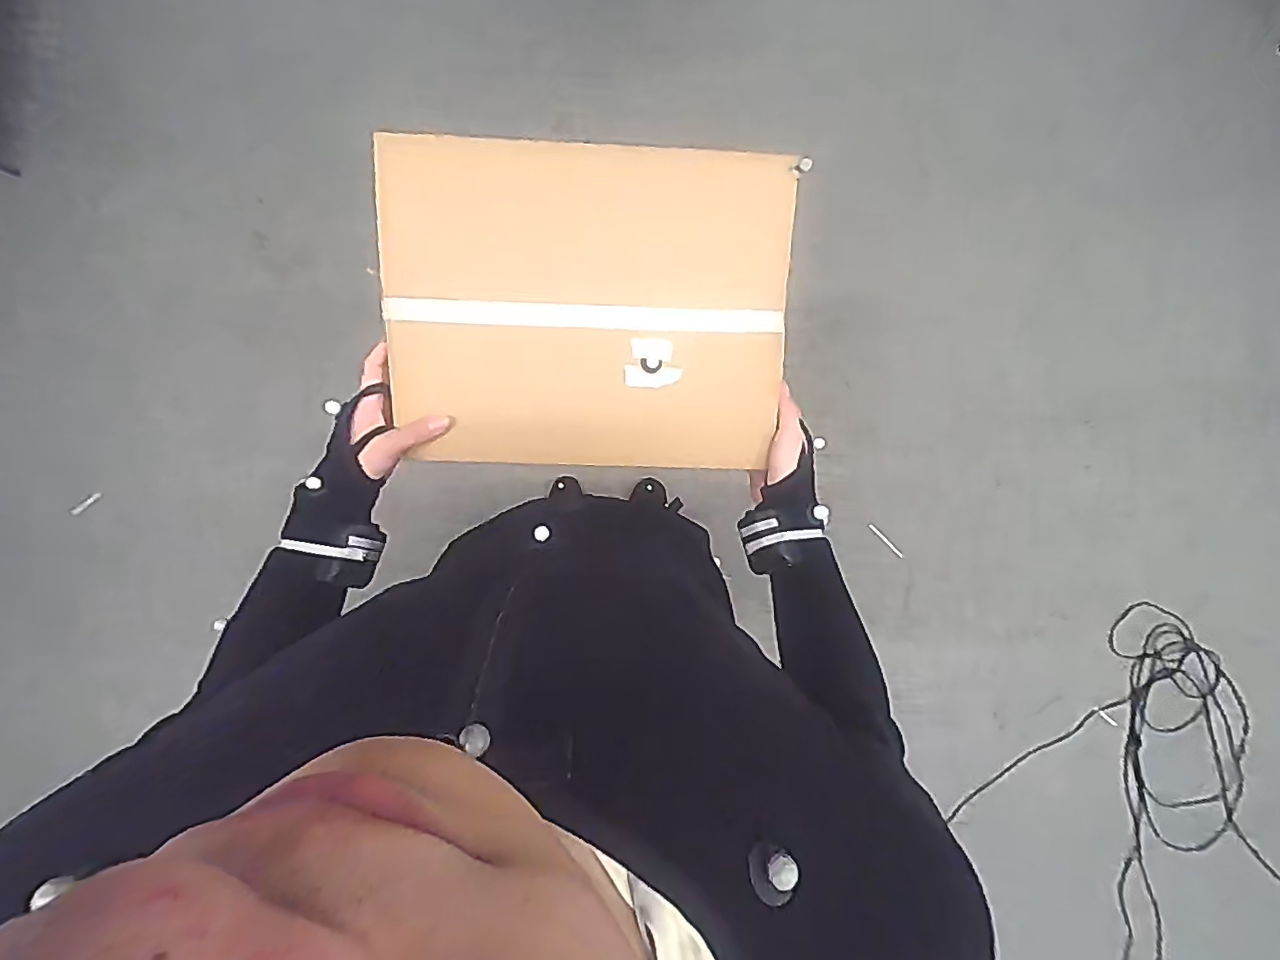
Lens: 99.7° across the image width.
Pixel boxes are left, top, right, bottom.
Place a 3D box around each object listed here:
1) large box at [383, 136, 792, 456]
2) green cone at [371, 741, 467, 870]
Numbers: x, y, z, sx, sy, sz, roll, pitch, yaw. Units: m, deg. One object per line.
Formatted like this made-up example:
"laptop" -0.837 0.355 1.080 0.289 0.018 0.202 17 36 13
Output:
"large box" -0.058 -0.210 0.700 0.408 0.320 0.320 1 104 -3
"green cone" -0.623 0.891 1.453 0.200 0.368 0.202 7 91 -2
